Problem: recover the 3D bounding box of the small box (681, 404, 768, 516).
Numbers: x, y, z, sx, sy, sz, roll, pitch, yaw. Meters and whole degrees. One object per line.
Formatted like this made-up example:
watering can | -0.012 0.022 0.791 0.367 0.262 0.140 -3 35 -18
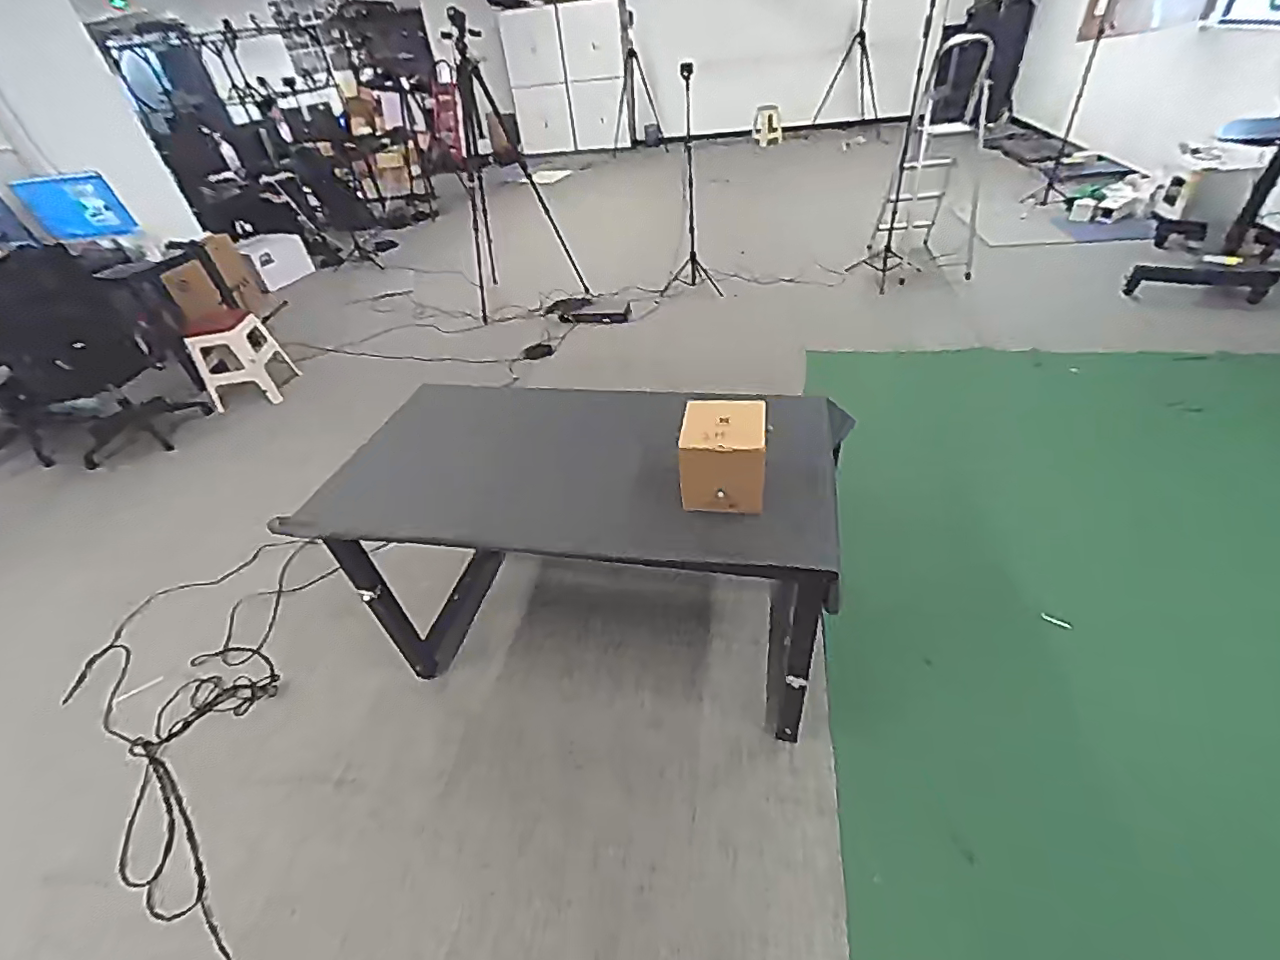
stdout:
small box | 0.183 -0.045 1.144 0.168 0.176 0.179 1 40 13
